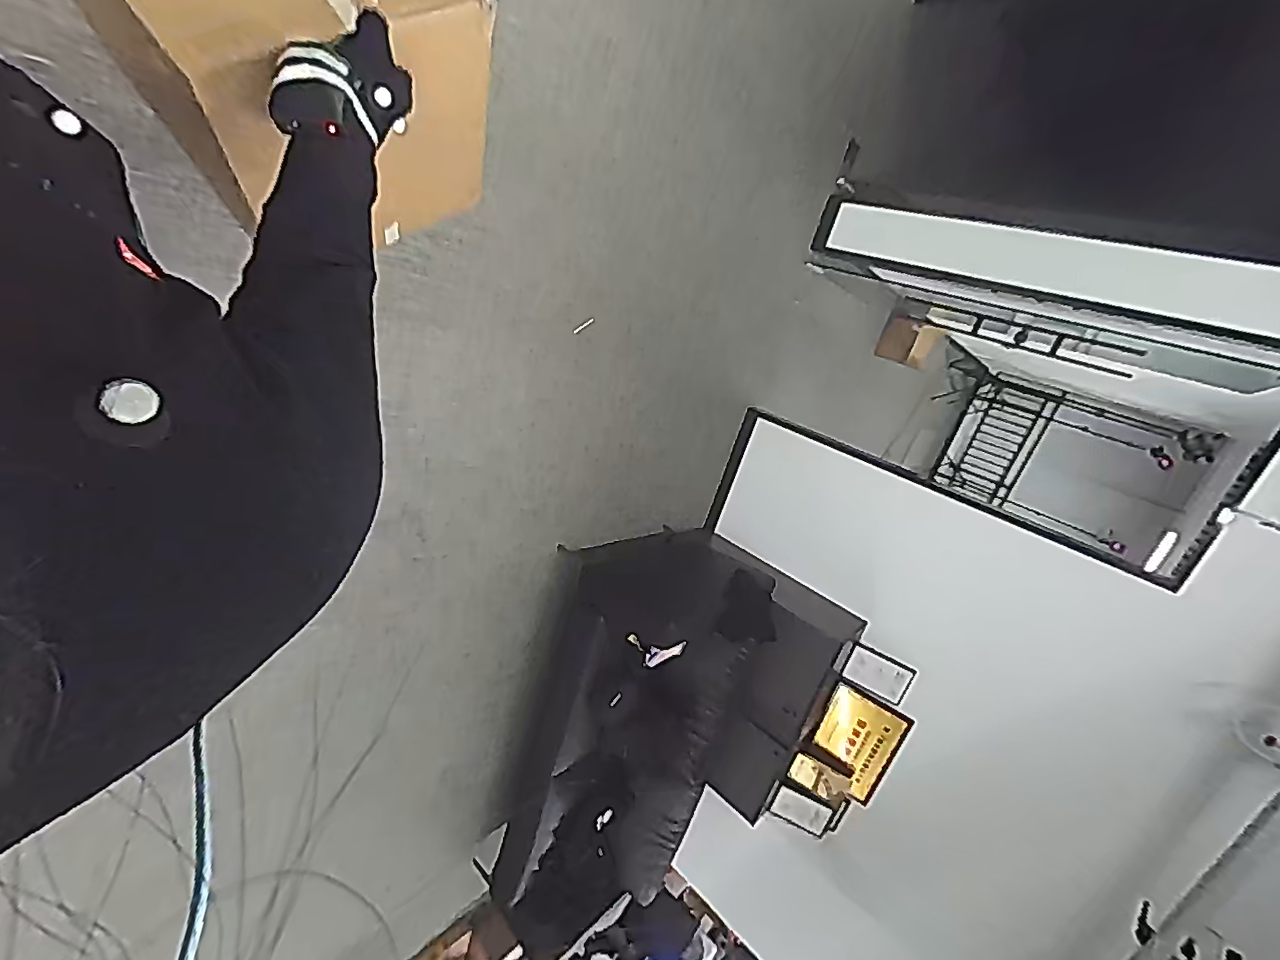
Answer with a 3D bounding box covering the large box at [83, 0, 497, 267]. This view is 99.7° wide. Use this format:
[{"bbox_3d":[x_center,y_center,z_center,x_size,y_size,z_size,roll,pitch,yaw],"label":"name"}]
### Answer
[{"bbox_3d":[-0.431,-0.556,0.645,0.320,0.408,0.320,-39,-177,-21],"label":"large box"}]
